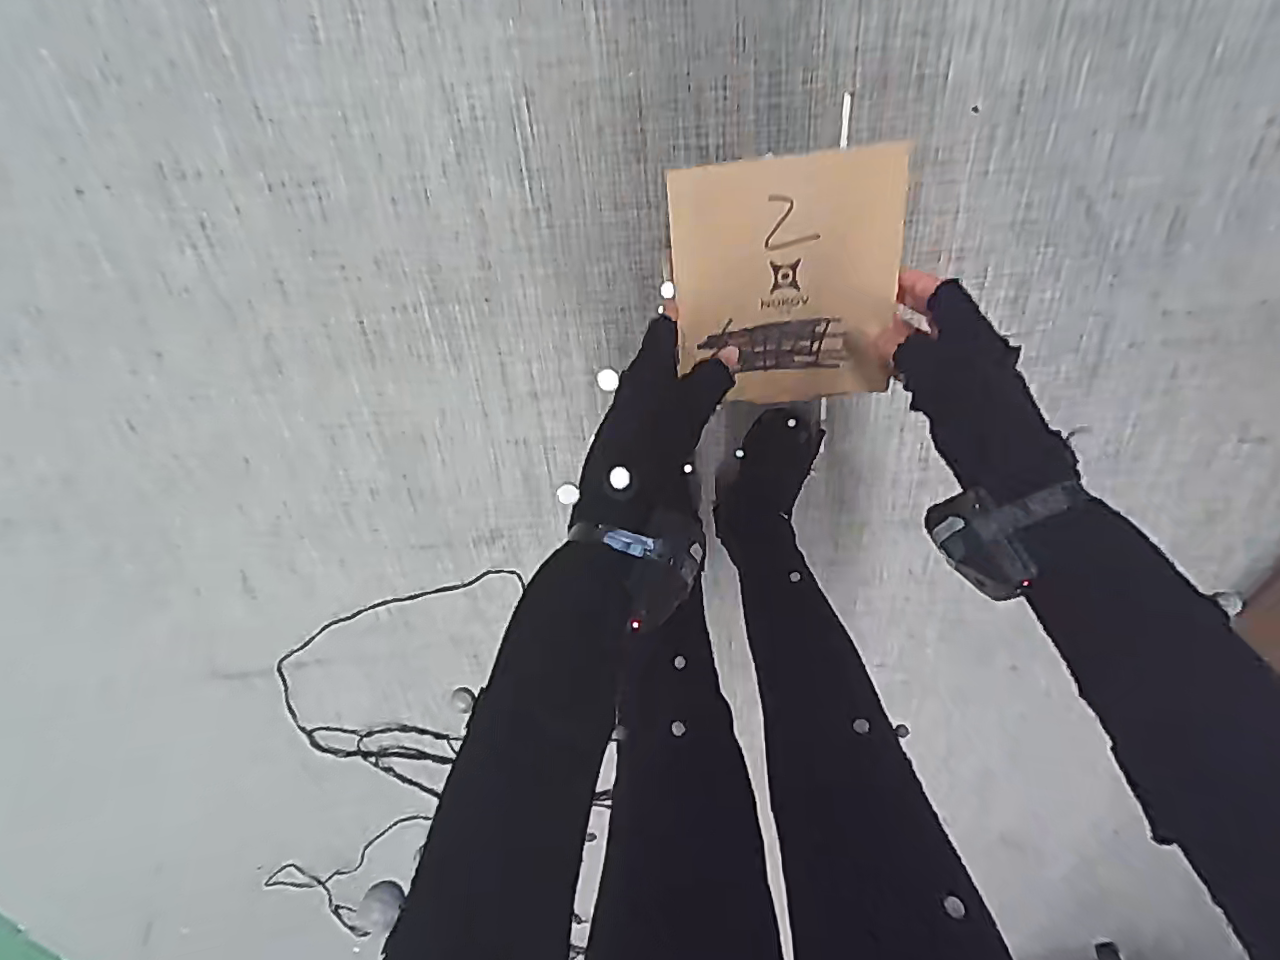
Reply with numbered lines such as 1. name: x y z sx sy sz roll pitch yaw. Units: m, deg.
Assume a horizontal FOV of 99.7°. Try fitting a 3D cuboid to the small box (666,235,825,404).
1. small box: 0.128 -0.212 0.698 0.179 0.176 0.168 -6 117 6
